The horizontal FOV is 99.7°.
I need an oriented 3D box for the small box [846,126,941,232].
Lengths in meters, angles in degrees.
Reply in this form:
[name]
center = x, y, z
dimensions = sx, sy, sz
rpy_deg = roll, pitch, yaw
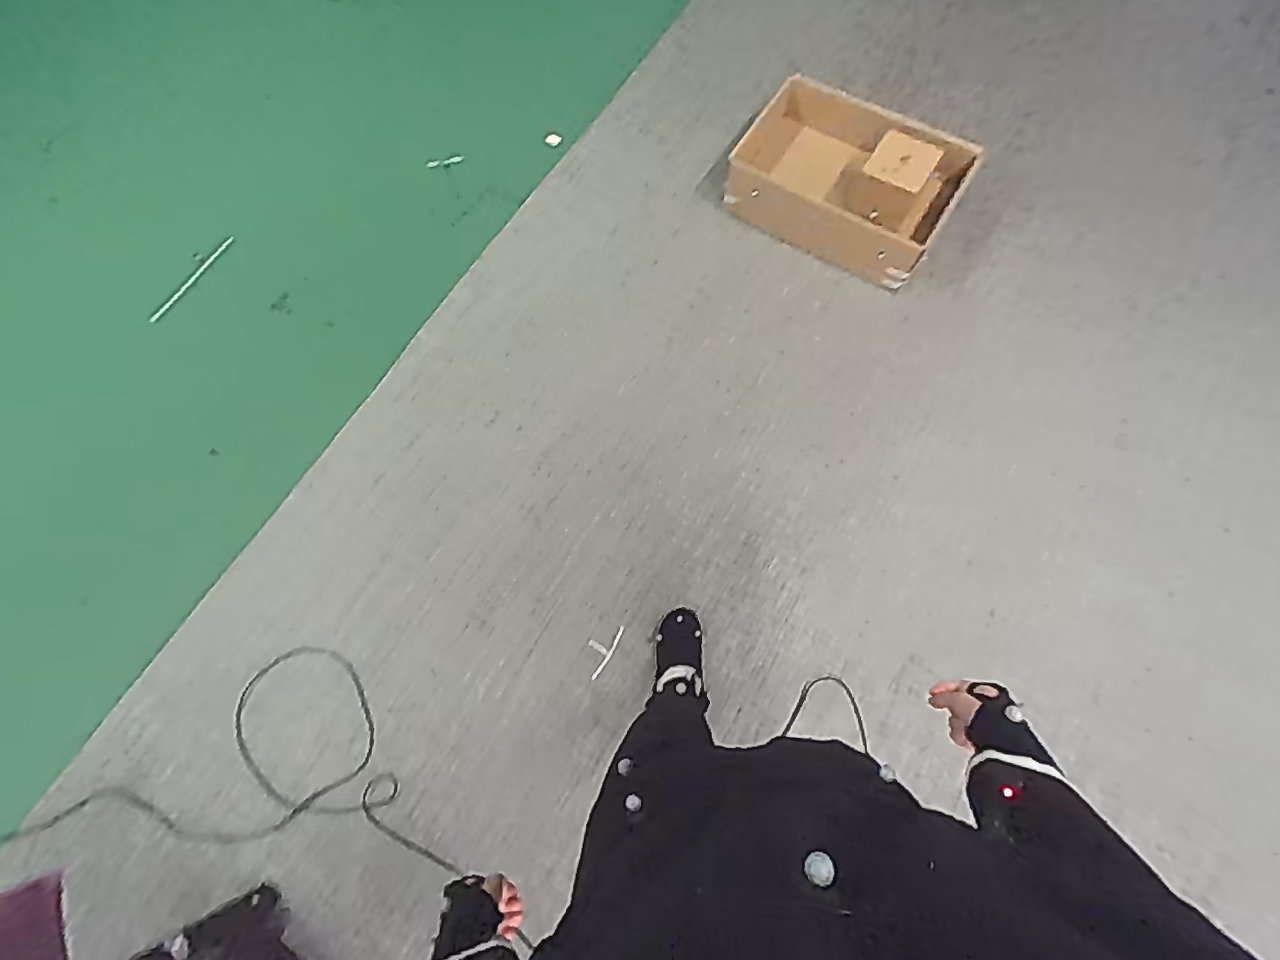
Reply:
[small box]
center = 0.723, -0.867, 1.566
dimensions = 0.168, 0.176, 0.179
rpy_deg = 31, 78, 13
